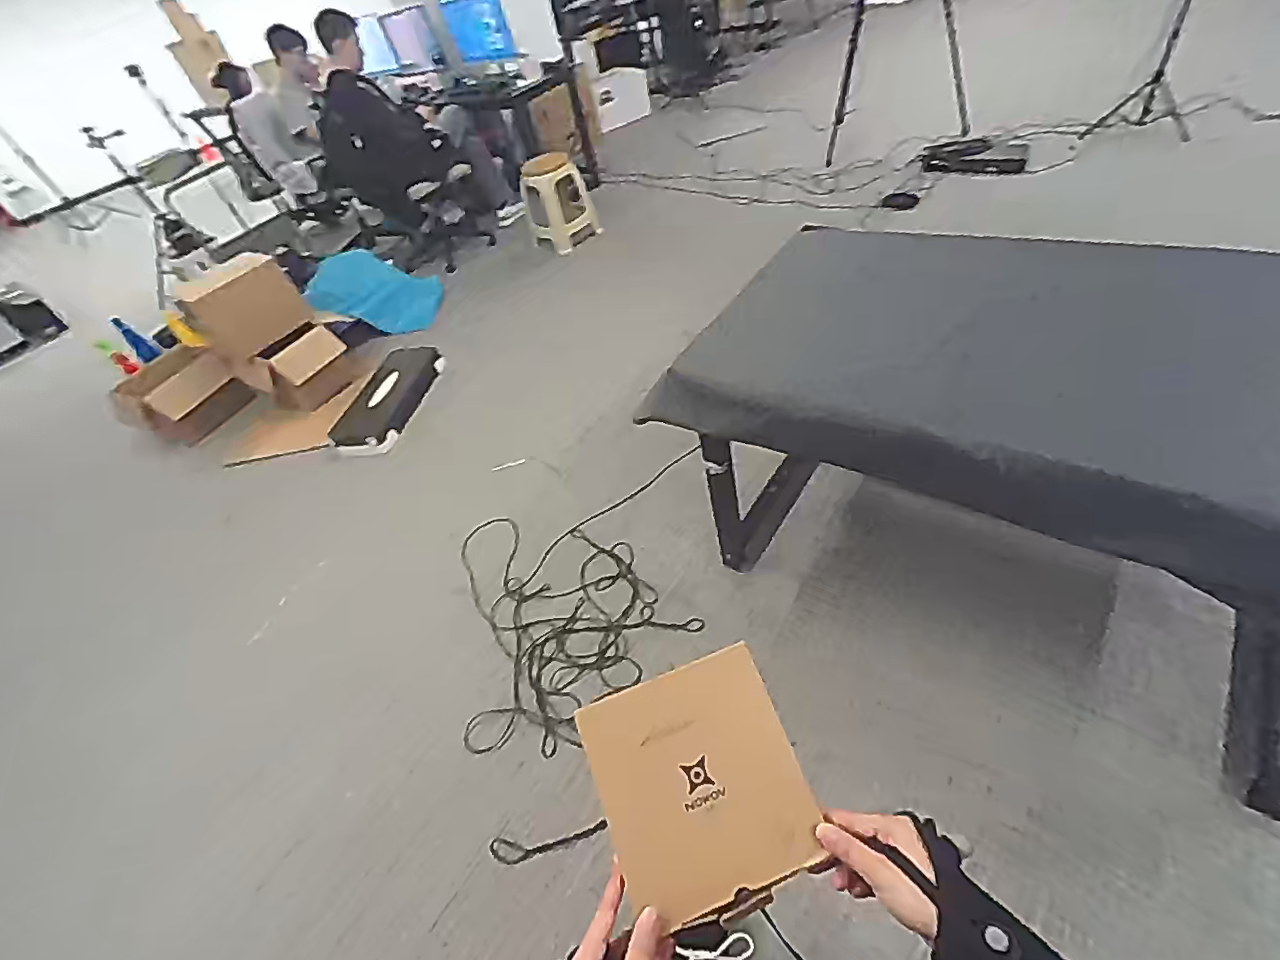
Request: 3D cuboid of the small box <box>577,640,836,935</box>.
[{"bbox_3d":[0.054,0.272,0.516,0.168,0.176,0.179,-20,67,-6],"label":"small box"}]
